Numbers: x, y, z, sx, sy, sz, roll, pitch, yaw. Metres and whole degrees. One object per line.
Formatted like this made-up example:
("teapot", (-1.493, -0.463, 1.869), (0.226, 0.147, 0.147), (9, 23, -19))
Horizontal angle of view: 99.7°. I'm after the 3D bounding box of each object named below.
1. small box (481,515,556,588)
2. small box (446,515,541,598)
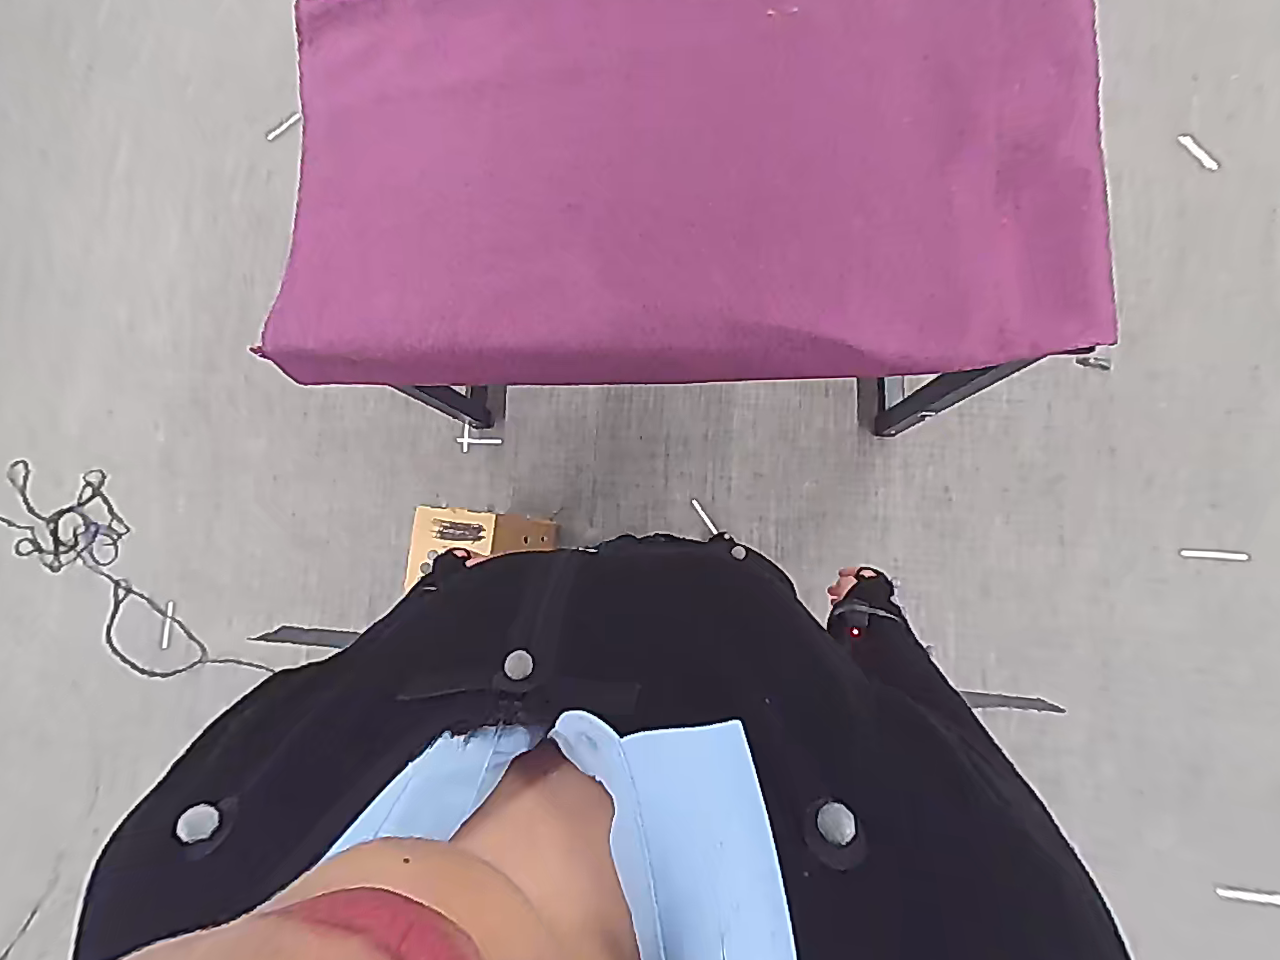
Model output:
("small box", (-0.335, 0.195, 1.455), (0.168, 0.176, 0.179), (8, 85, 6))
("small box", (-0.342, 0.181, 1.291), (0.168, 0.176, 0.179), (3, 84, 6))
